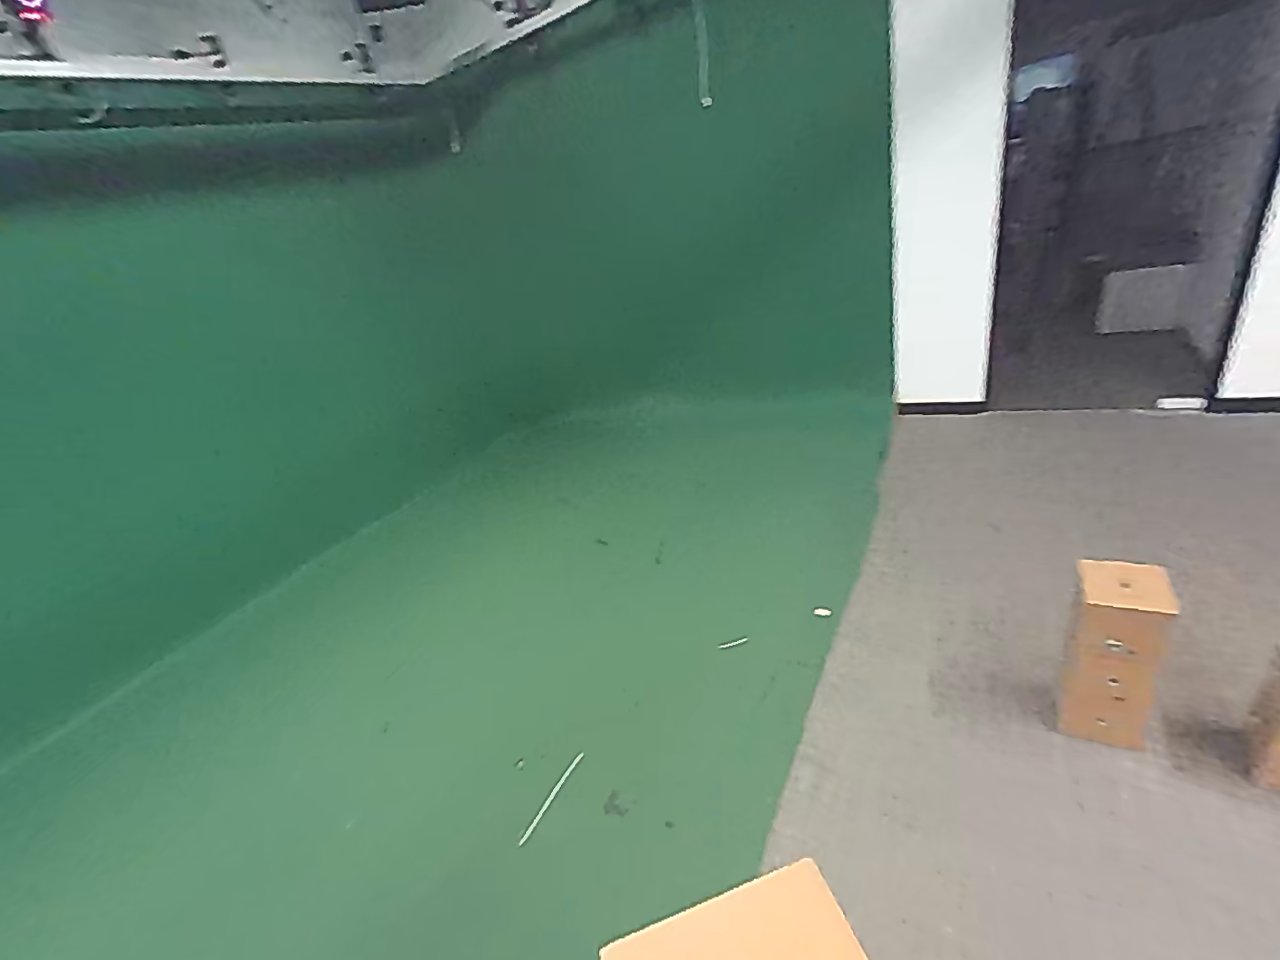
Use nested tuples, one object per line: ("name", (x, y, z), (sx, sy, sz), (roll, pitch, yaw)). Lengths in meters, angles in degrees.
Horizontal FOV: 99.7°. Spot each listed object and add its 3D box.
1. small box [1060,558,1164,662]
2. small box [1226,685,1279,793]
("small box", (1.176, 0.323, 1.363), (0.168, 0.176, 0.179), (2, 32, 31))
("small box", (1.563, 0.638, 1.305), (0.168, 0.176, 0.179), (9, 37, 37))
